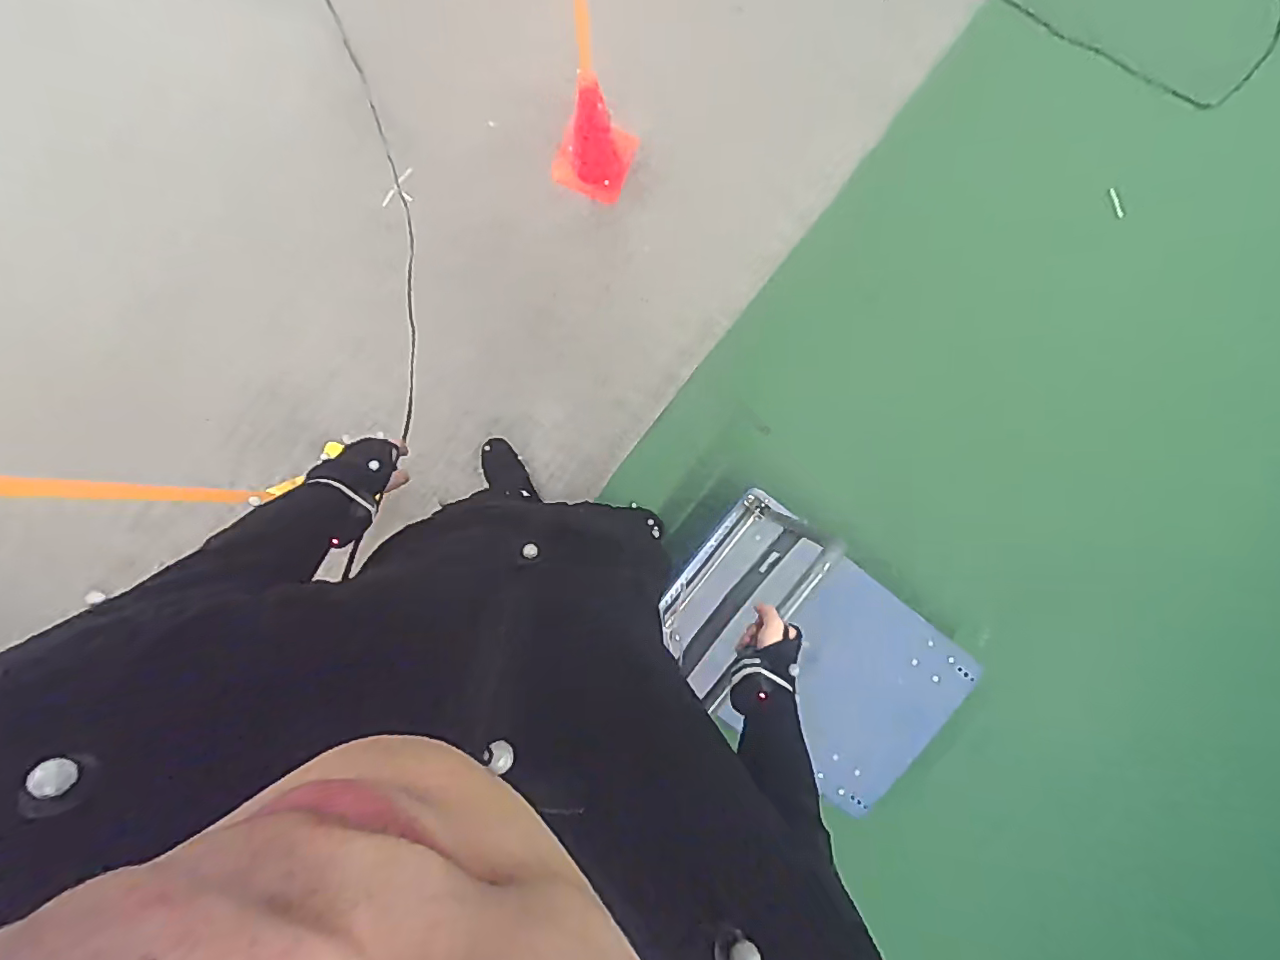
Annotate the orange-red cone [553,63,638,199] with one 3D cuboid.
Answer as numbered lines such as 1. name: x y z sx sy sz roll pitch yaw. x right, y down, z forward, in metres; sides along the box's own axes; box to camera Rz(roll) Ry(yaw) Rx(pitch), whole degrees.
1. orange-red cone: -0.116 -0.909 1.358 0.198 0.360 0.199 24 92 -5
